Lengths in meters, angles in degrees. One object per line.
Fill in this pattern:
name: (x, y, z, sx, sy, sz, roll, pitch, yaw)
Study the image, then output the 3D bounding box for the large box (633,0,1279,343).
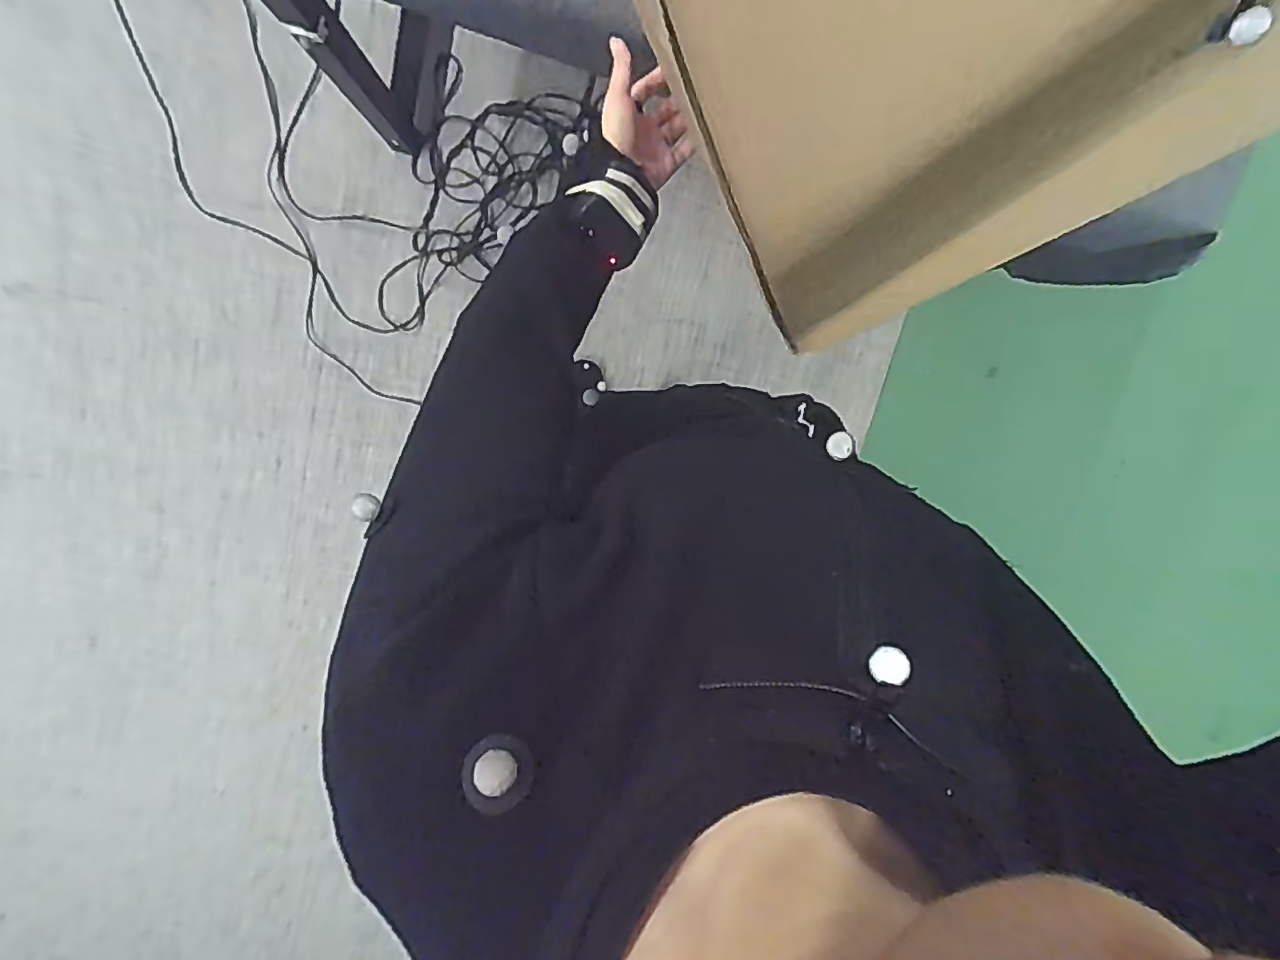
large box: (0.192, -0.338, 0.267, 0.408, 0.320, 0.320, -27, 72, 20)
